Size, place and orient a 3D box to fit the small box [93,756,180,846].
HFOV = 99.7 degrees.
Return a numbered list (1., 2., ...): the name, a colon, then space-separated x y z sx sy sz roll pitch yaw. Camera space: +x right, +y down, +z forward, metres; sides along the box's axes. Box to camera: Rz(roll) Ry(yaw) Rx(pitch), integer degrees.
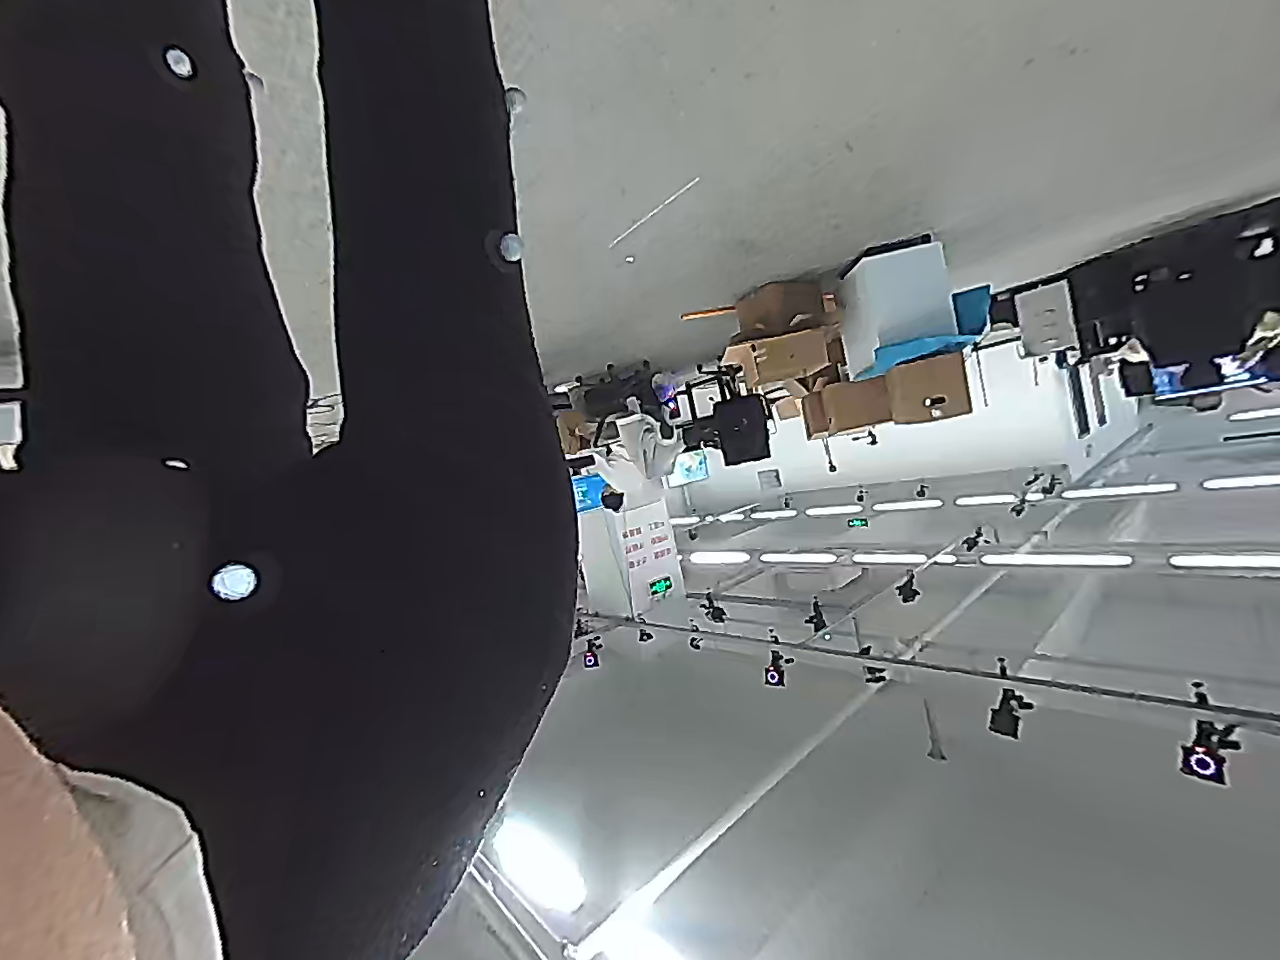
1. small box: -1.618 1.018 1.743 0.179 0.176 0.168 -13 -177 -41
